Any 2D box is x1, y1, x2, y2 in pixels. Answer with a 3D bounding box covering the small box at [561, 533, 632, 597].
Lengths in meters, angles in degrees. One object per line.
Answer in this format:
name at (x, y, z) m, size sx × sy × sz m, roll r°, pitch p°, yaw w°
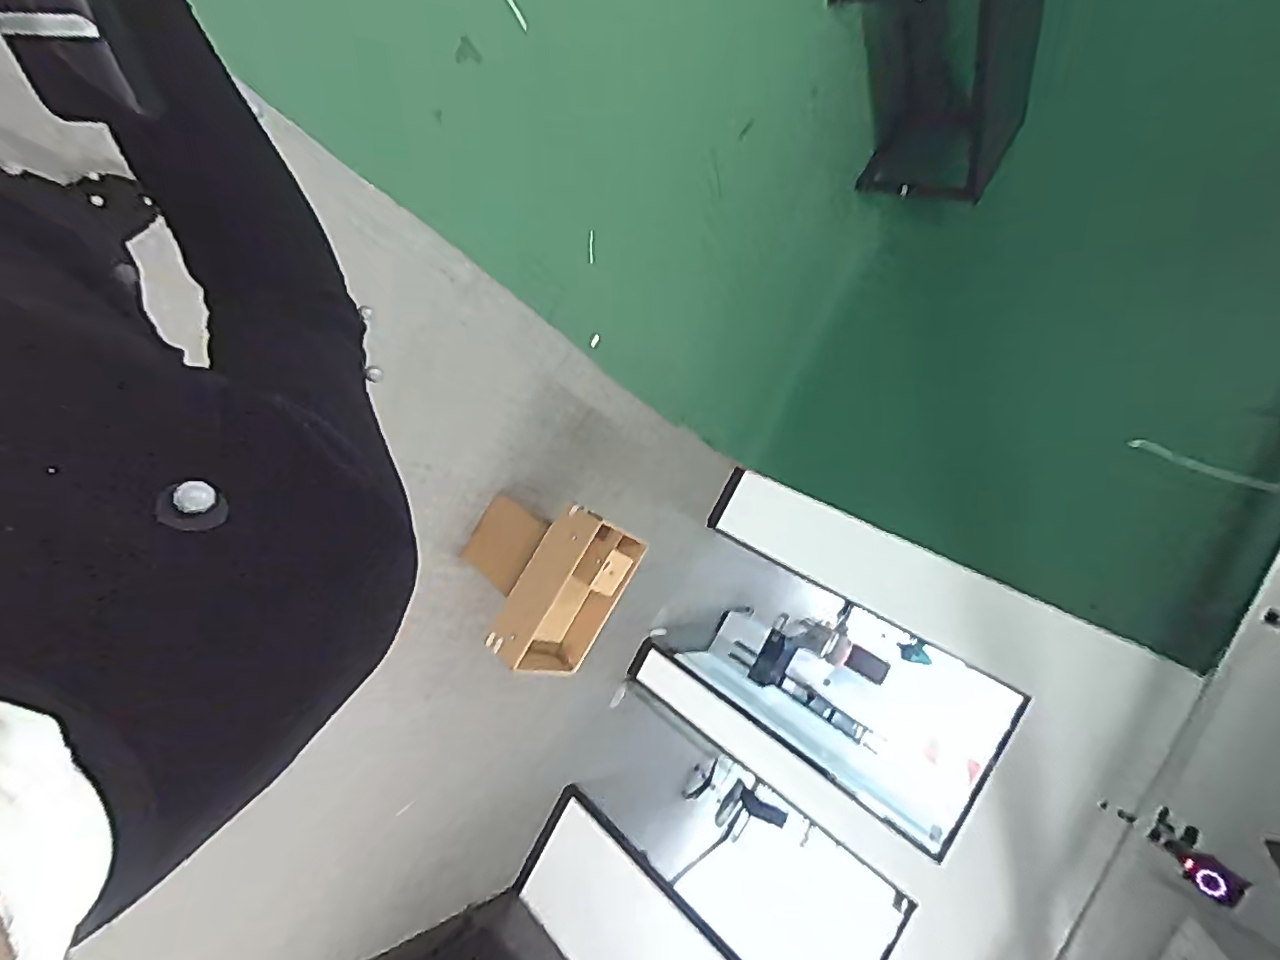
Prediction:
small box at (-0.167, 0.324, 2.081) m, size 0.168 × 0.176 × 0.179 m, roll -59°, pitch 147°, yaw -6°
